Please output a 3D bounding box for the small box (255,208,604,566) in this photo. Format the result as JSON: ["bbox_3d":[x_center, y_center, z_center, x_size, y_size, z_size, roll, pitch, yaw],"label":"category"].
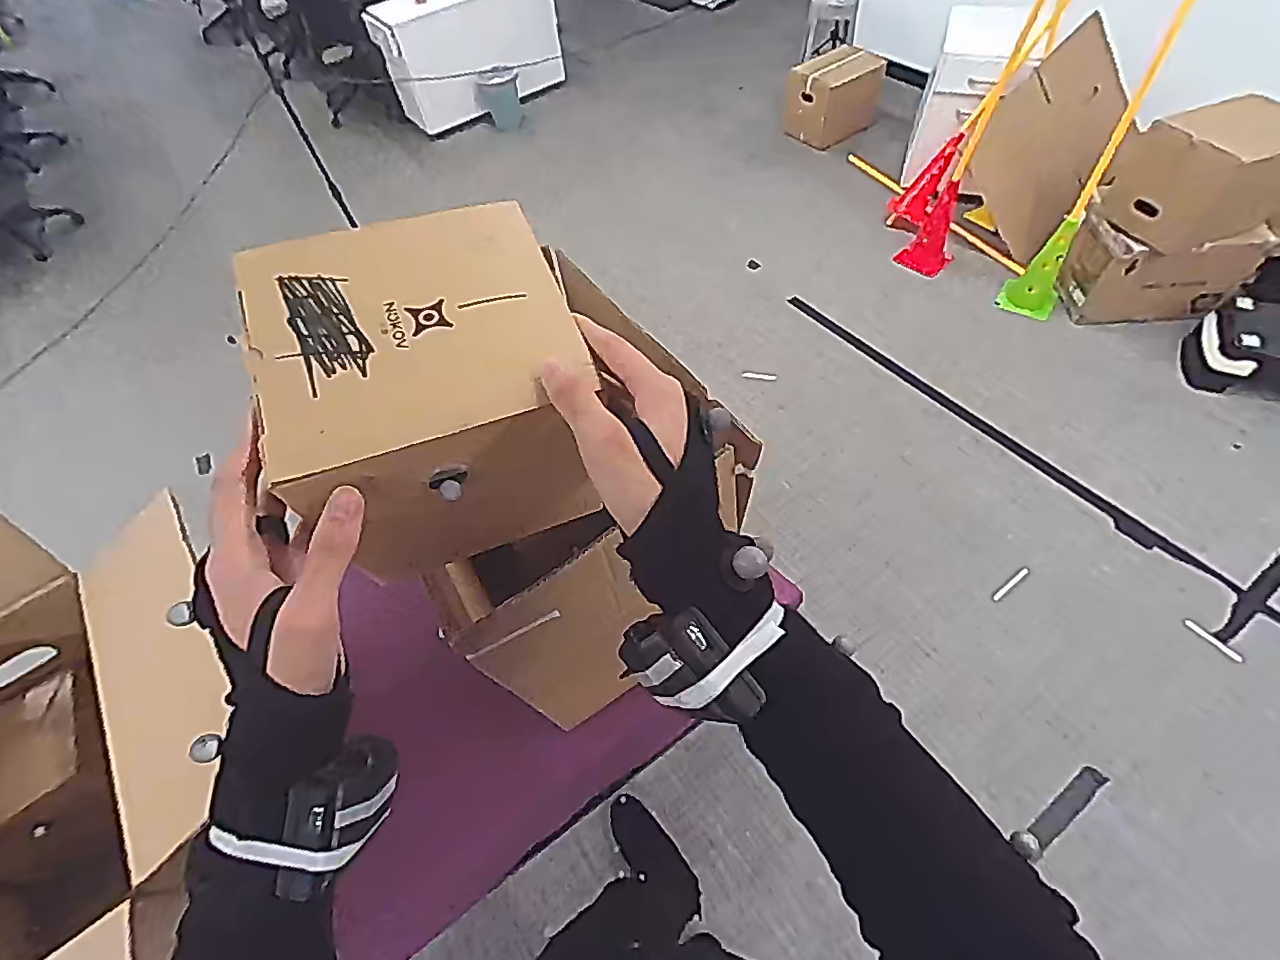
[{"bbox_3d":[-0.134,-0.057,0.393,0.179,0.176,0.168,-19,66,-15],"label":"small box"}]
